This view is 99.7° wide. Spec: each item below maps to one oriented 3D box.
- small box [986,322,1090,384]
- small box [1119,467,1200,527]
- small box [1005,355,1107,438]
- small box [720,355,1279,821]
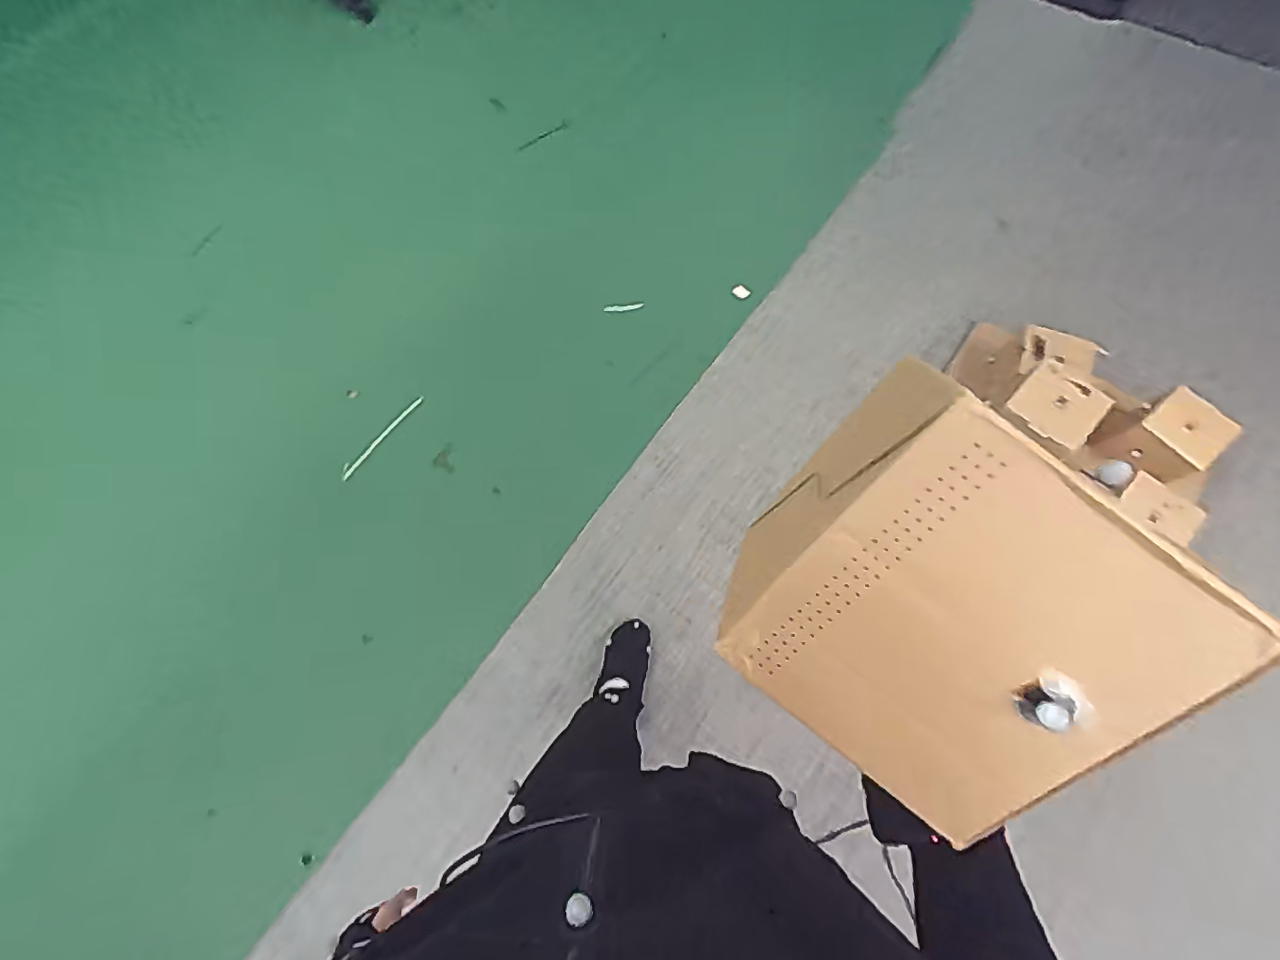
[{"bbox_3d":[1.063,-0.292,1.470,0.179,0.176,0.168,20,73,7],"label":"small box"},{"bbox_3d":[1.177,0.104,1.321,0.168,0.176,0.179,41,76,14],"label":"small box"},{"bbox_3d":[0.900,-0.146,1.248,0.168,0.176,0.179,43,77,14],"label":"small box"},{"bbox_3d":[0.172,0.041,0.319,0.176,0.168,0.179,40,115,3],"label":"small box"}]
